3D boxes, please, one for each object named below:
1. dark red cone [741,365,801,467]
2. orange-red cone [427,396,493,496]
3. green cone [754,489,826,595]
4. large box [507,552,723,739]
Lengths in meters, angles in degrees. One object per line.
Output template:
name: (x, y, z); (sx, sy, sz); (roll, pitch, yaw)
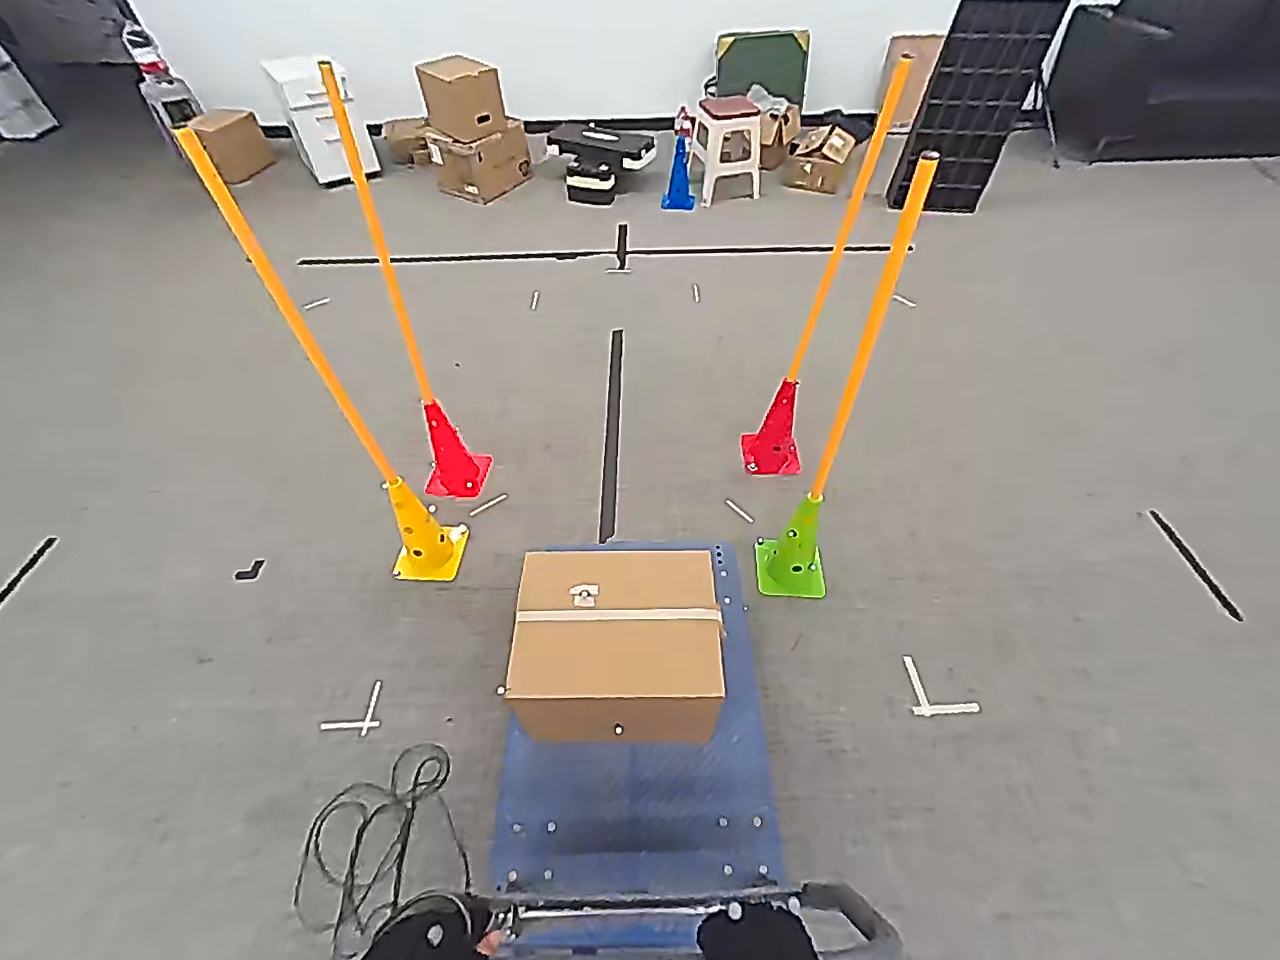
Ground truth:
dark red cone: (0.483, -0.226, 1.857); (0.201, 0.394, 0.202); (1, 50, -1)
orange-red cone: (-0.647, -0.138, 1.822); (0.198, 0.360, 0.199); (6, 49, 4)
green cone: (0.464, 0.157, 1.559); (0.202, 0.368, 0.200); (3, 50, 2)
large box: (-0.043, 0.372, 1.196); (0.408, 0.320, 0.320); (-1, 50, 1)
